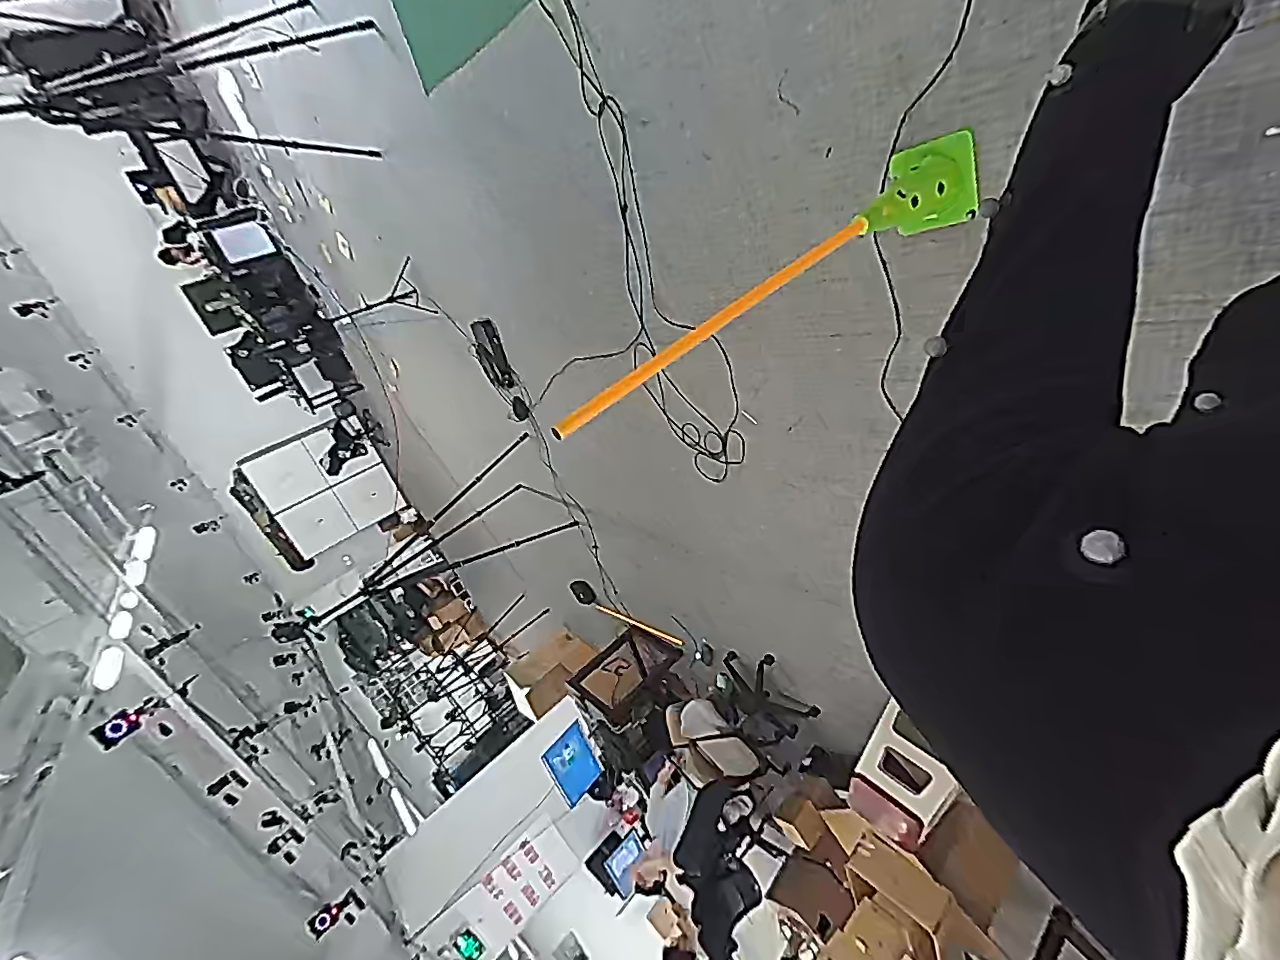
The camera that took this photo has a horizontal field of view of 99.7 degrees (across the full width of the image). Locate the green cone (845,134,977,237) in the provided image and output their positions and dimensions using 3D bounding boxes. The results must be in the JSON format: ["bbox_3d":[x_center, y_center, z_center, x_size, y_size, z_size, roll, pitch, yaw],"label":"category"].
[{"bbox_3d":[0.609,-0.653,1.283,0.202,0.368,0.200,12,129,53],"label":"green cone"}]
